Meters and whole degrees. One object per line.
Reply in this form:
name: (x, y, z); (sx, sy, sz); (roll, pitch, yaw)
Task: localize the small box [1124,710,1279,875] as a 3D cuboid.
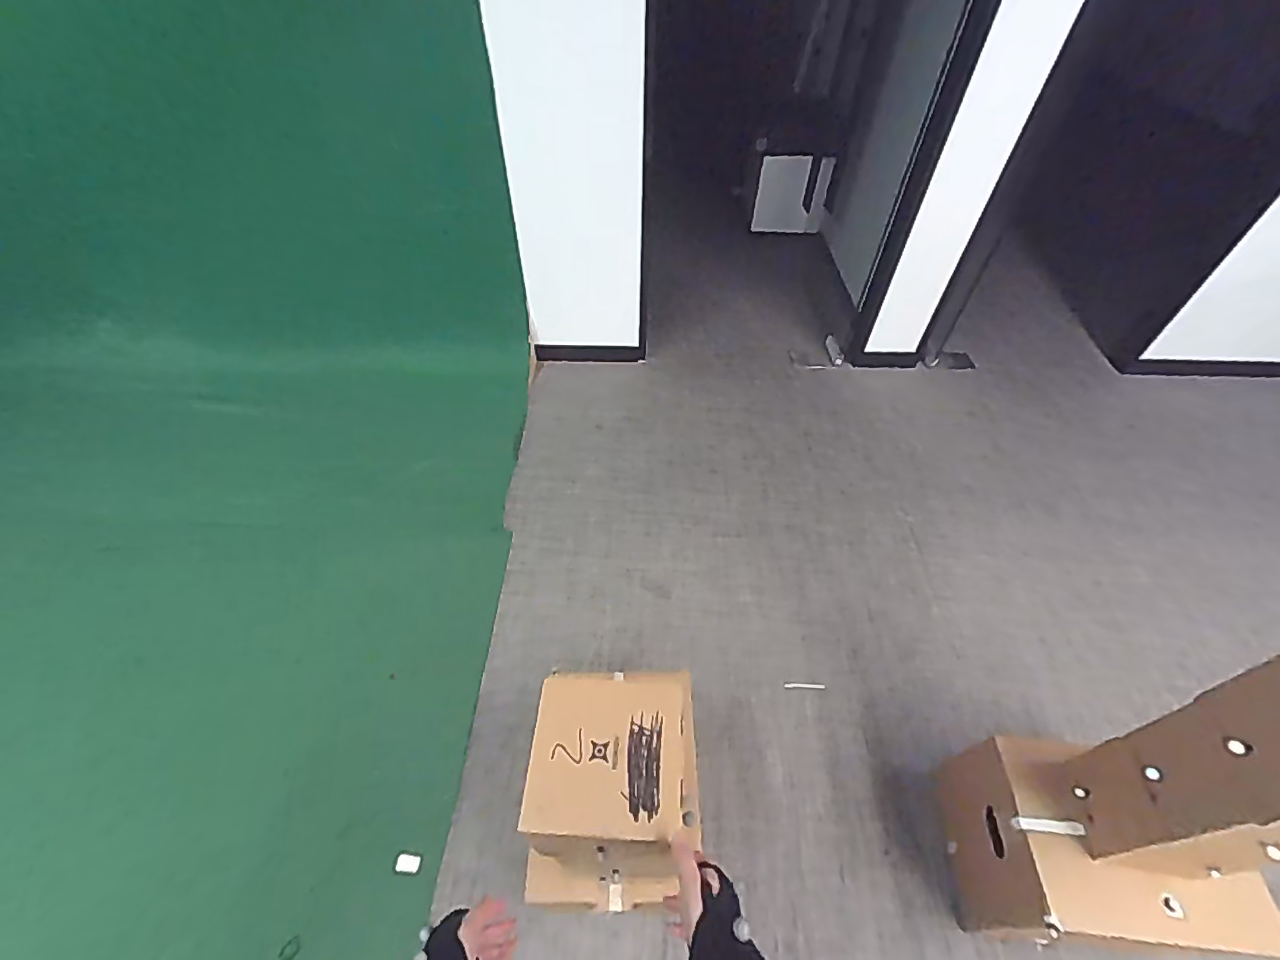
small box: (0.911, 0.478, 0.822); (0.179, 0.176, 0.168); (9, 46, 7)

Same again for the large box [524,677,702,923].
large box: (-0.049, 0.683, 1.162); (0.320, 0.320, 0.408); (1, 48, -1)

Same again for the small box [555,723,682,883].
small box: (-0.025, 0.479, 0.798); (0.168, 0.176, 0.179); (2, 48, 0)

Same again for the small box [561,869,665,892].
small box: (-0.035, 0.587, 0.922); (0.168, 0.176, 0.179); (2, 47, 1)

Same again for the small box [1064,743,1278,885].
small box: (0.905, 0.587, 0.945); (0.179, 0.176, 0.168); (8, 47, 6)

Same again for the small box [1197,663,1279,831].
small box: (0.913, 0.363, 0.704); (0.168, 0.176, 0.179); (9, 47, 5)
